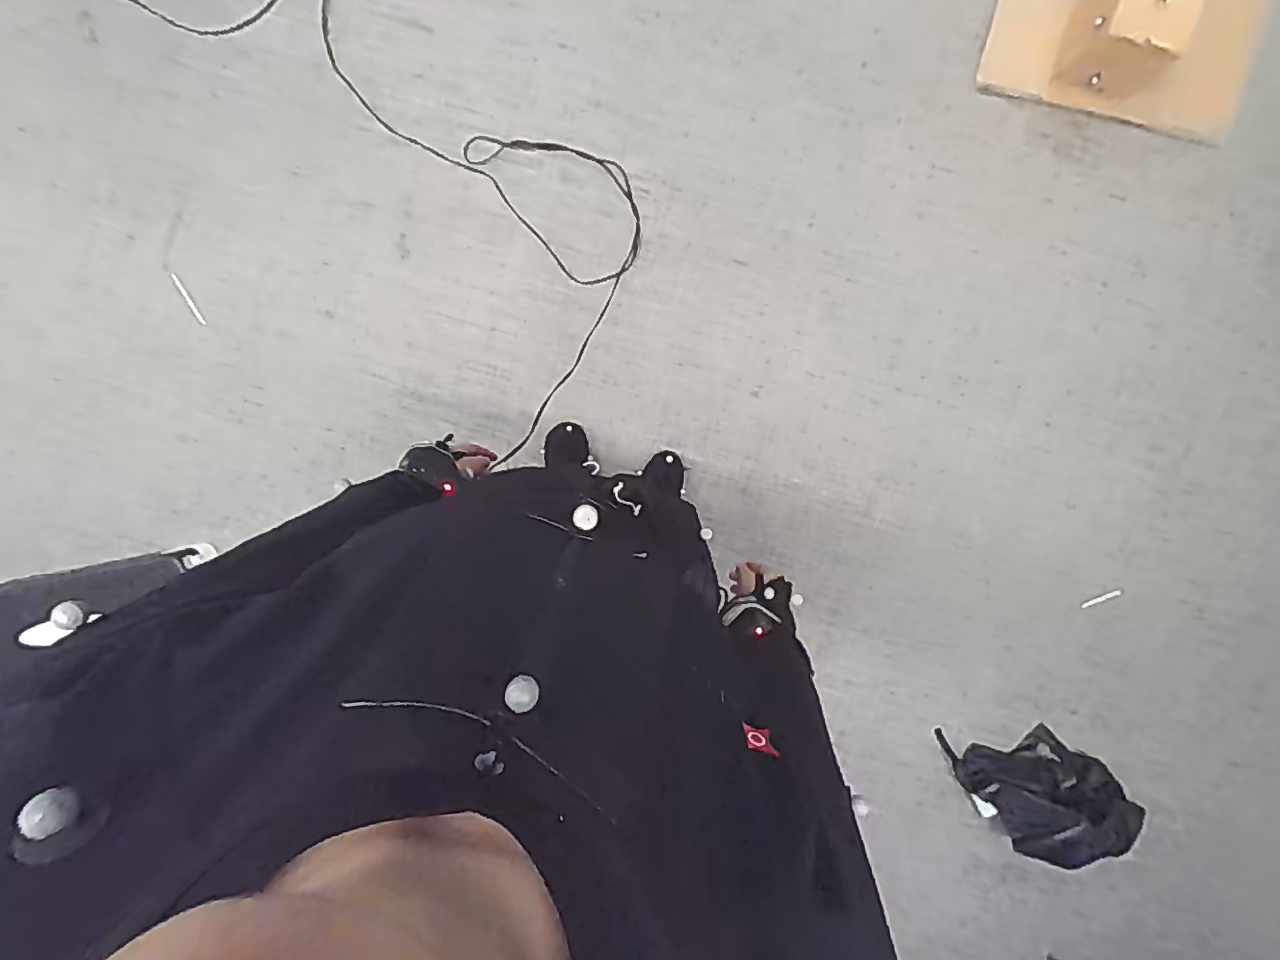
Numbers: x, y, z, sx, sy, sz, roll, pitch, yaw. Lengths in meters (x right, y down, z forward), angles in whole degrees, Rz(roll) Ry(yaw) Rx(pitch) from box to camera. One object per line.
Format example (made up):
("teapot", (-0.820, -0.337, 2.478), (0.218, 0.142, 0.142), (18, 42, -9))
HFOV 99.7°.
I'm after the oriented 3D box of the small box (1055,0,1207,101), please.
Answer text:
("small box", (1.043, -0.967, 1.155), (0.168, 0.176, 0.179), (15, 96, -1))
